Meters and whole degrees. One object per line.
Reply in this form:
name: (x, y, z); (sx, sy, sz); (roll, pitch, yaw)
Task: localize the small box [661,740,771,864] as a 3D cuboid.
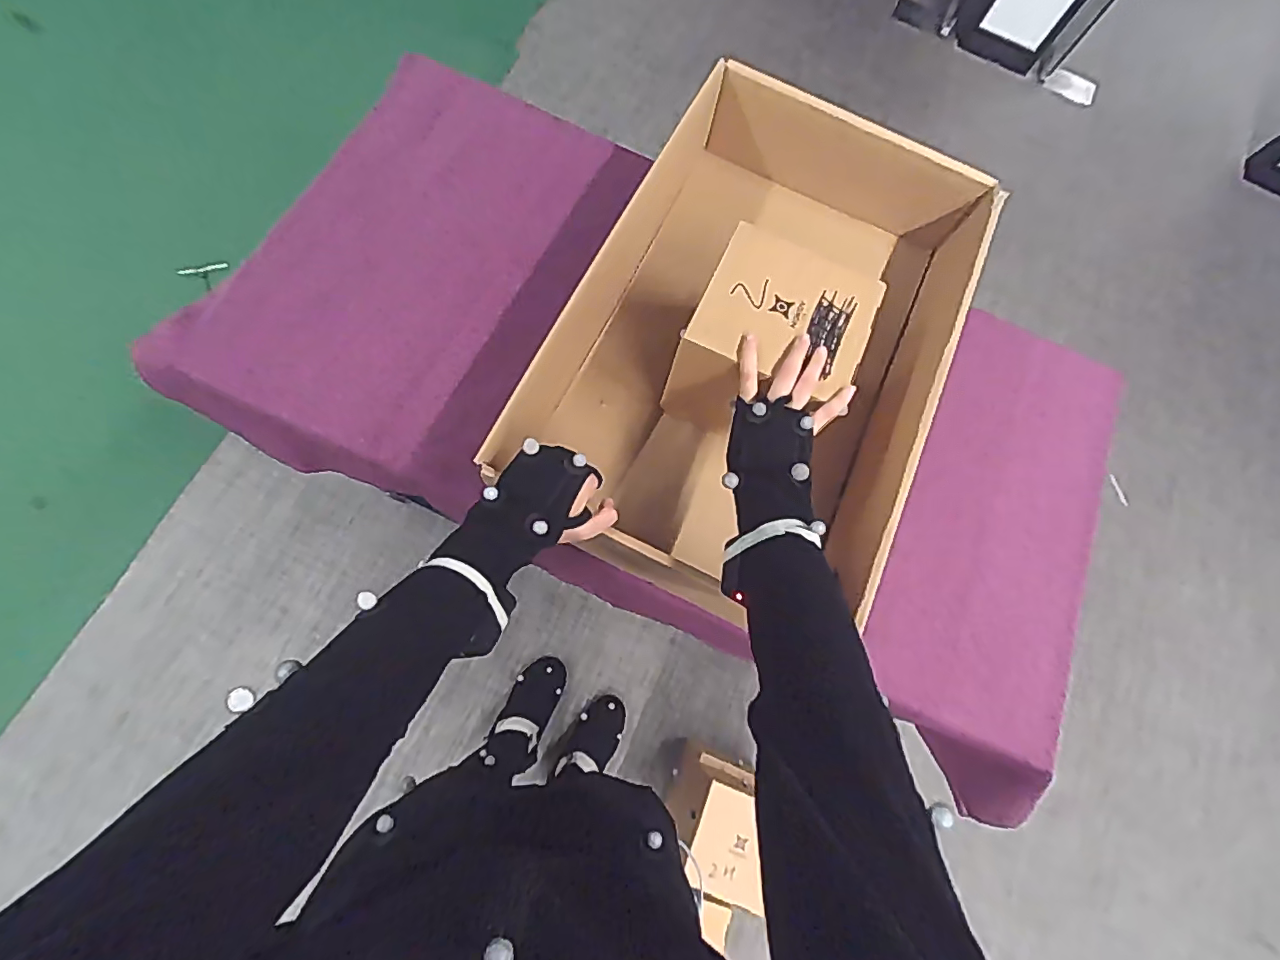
small box: (0.163, 0.708, 1.213); (0.179, 0.176, 0.168); (24, 73, 1)

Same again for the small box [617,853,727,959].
small box: (0.060, 0.926, 1.142); (0.179, 0.176, 0.168); (21, 73, -1)
